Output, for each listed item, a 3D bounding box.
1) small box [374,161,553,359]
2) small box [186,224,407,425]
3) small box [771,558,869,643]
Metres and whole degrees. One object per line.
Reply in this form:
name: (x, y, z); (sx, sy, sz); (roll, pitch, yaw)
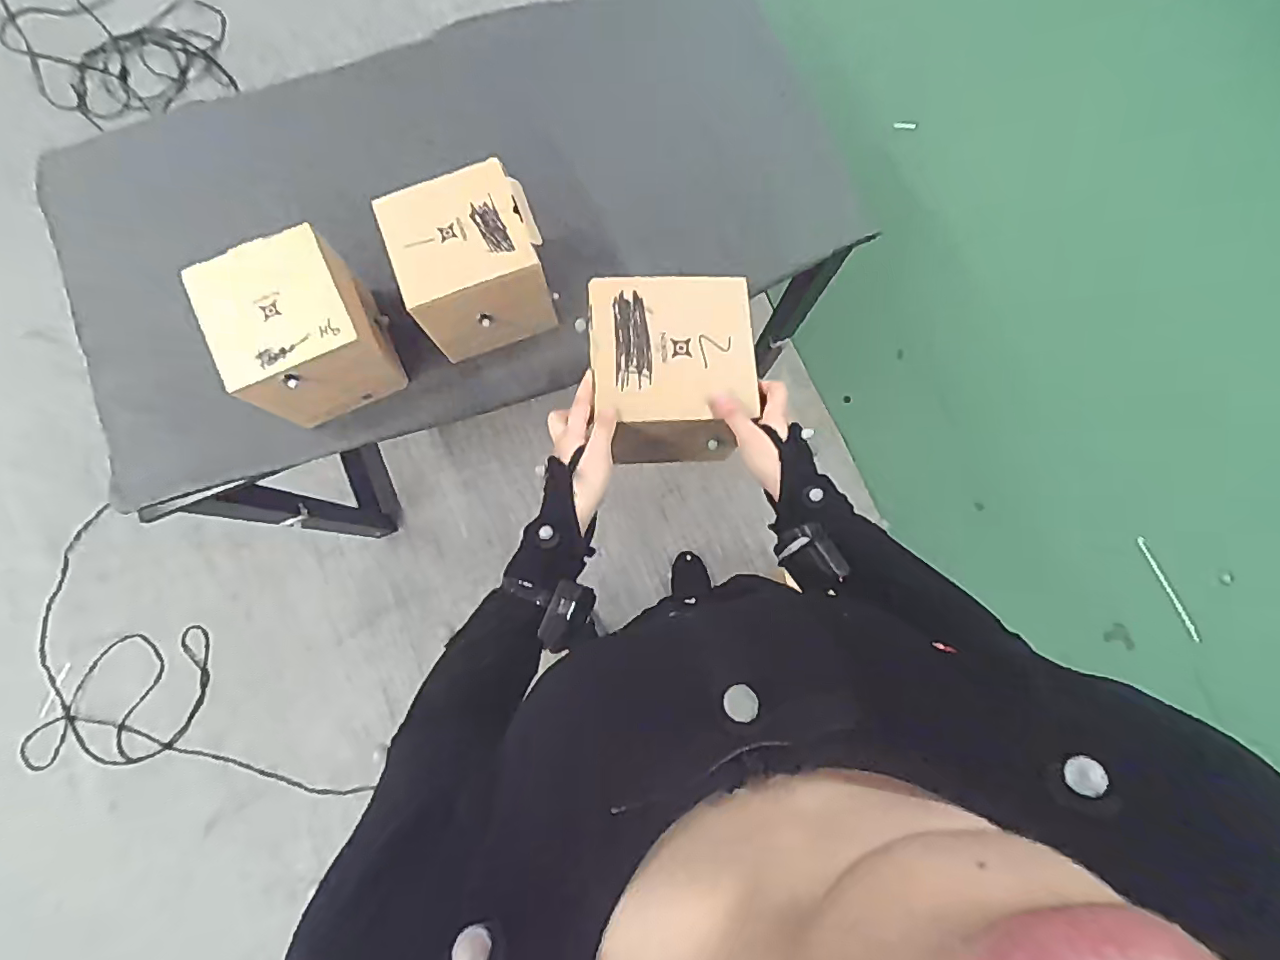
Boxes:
small box: (-0.231, -0.295, 0.757); (0.179, 0.176, 0.168); (-20, 80, -2)
small box: (-0.451, -0.199, 0.736); (0.168, 0.176, 0.179); (-25, 81, -5)
small box: (0.460, 0.307, 1.408); (0.168, 0.176, 0.179); (-15, 81, -4)
